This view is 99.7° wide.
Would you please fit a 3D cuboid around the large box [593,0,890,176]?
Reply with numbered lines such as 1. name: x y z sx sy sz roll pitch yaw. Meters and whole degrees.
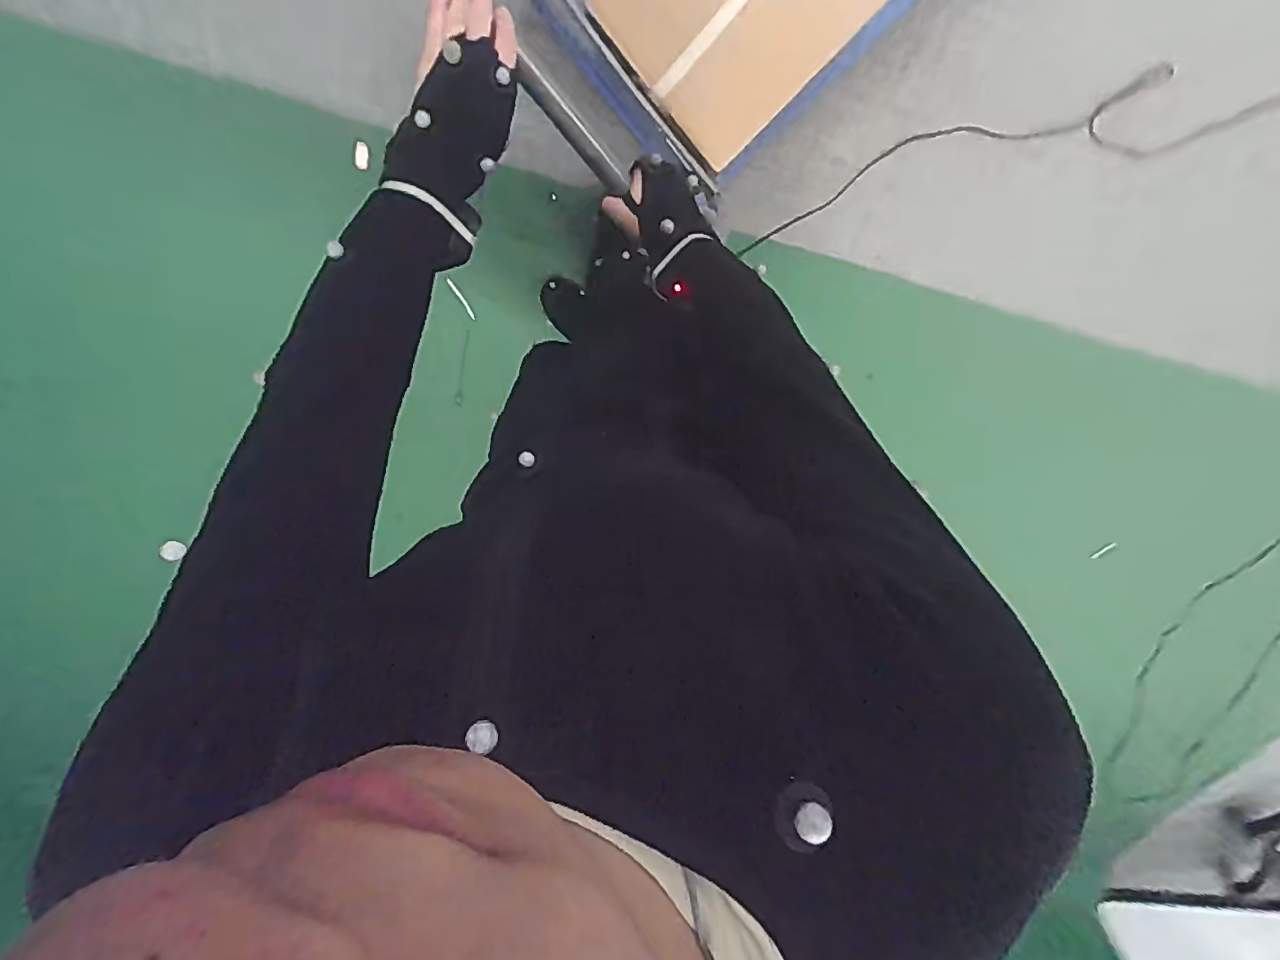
1. large box: 0.170 -0.812 0.934 0.408 0.320 0.320 -39 116 22
